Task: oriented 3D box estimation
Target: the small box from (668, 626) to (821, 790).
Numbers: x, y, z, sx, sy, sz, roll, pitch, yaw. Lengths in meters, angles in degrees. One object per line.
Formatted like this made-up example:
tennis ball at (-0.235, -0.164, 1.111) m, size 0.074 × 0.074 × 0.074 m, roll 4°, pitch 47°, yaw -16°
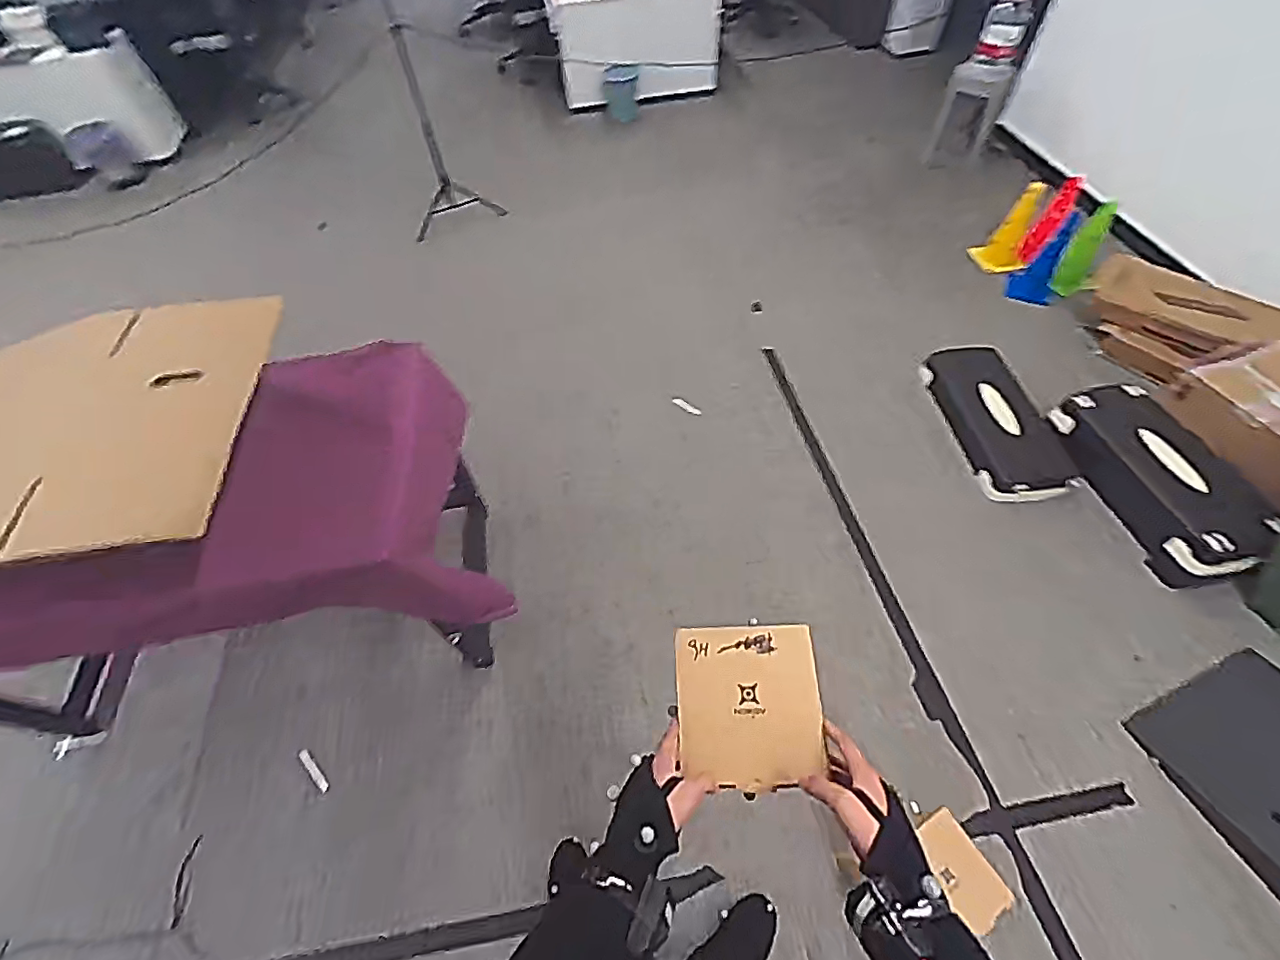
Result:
small box at (0.125, 0.295, 0.704) m, size 0.168 × 0.176 × 0.179 m, roll -3°, pitch 63°, yaw 4°
